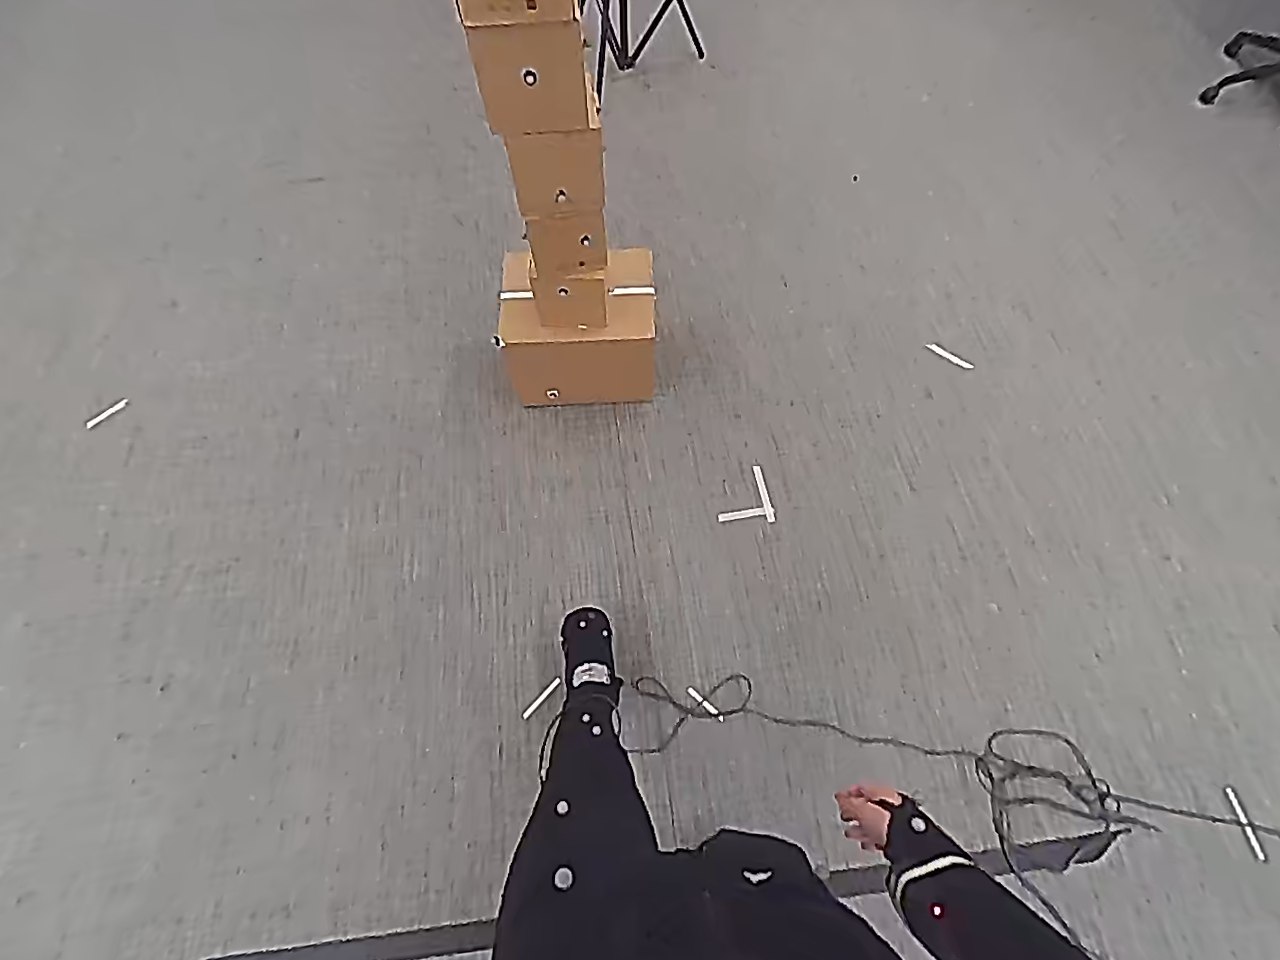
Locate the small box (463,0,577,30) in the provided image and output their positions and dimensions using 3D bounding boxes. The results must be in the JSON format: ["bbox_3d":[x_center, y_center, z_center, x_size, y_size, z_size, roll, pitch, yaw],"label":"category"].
[{"bbox_3d":[-0.180,-0.772,0.754,0.168,0.176,0.179,-5,67,-3],"label":"small box"}]

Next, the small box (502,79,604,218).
[{"bbox_3d":[-0.164,-0.640,1.054,0.179,0.176,0.168,-7,66,-5],"label":"small box"}]

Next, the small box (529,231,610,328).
[{"bbox_3d":[-0.168,-0.496,1.346,0.179,0.176,0.168,1,66,-1],"label":"small box"}]

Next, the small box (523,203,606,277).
[{"bbox_3d":[-0.173,-0.576,1.204,0.168,0.176,0.179,-13,66,-7],"label":"small box"}]
